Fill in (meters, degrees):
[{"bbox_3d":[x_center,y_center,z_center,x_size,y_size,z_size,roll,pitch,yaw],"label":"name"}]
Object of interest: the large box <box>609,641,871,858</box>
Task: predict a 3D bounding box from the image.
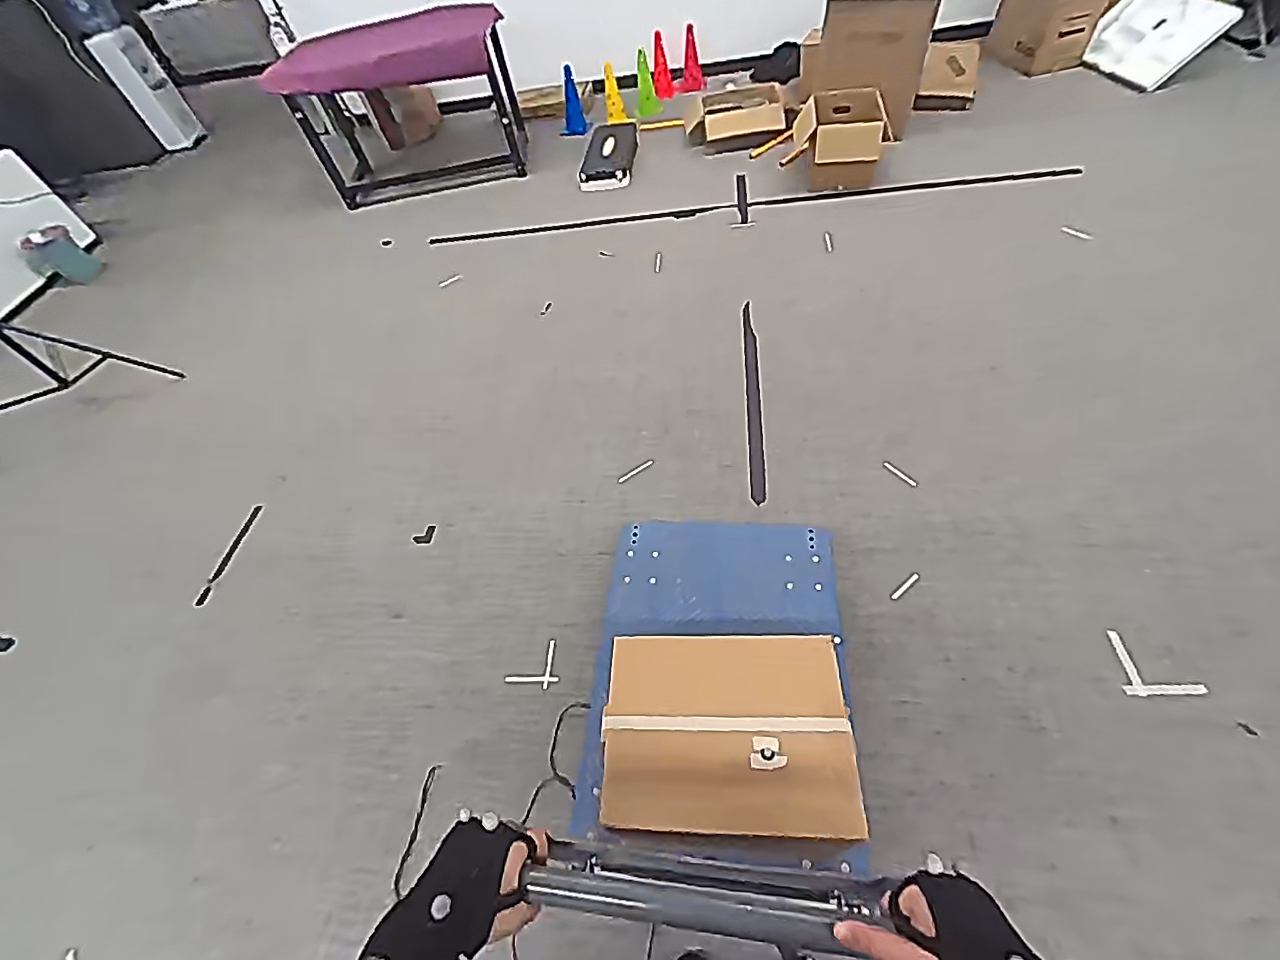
[{"bbox_3d":[0.166,0.517,1.027,0.408,0.320,0.320,-3,51,6],"label":"large box"}]
